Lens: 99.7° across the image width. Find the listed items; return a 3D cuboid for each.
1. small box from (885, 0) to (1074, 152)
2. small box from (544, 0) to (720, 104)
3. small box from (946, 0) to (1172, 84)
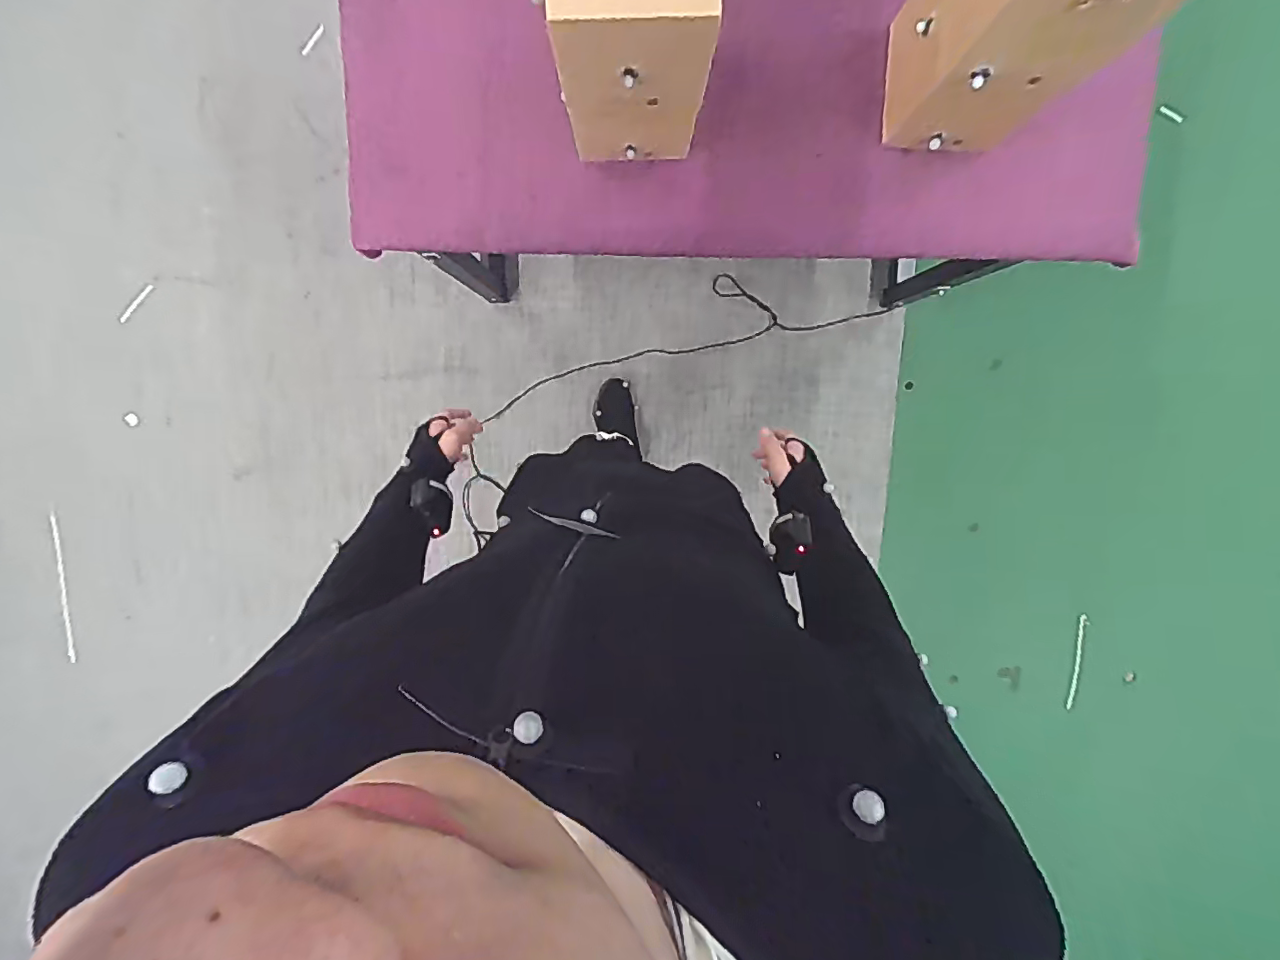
[{"bbox_3d":[0.449,-0.576,0.724,0.168,0.176,0.179,3,98,1],"label":"small box"},{"bbox_3d":[-0.008,-0.523,0.563,0.168,0.176,0.179,-1,99,-1],"label":"small box"},{"bbox_3d":[0.447,-0.551,0.562,0.168,0.176,0.179,2,96,1],"label":"small box"}]
